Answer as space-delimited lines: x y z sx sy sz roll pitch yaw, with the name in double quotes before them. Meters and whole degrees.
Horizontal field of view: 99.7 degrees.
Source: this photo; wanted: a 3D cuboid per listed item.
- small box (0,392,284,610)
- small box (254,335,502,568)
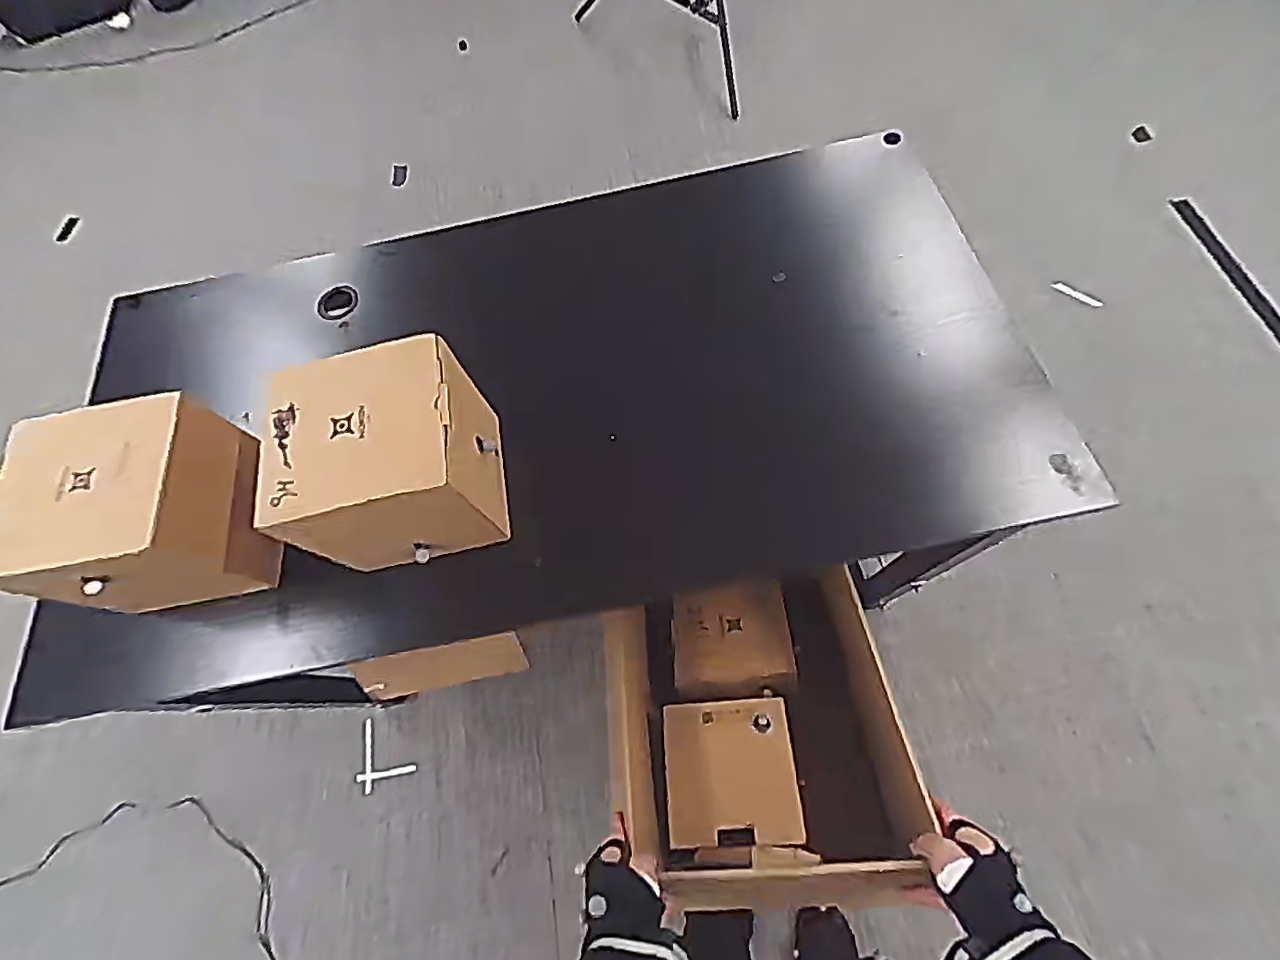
"small box" -0.510 0.033 0.567 0.179 0.176 0.168 -10 67 1
"small box" -0.251 -0.019 0.562 0.179 0.176 0.168 -13 67 0
